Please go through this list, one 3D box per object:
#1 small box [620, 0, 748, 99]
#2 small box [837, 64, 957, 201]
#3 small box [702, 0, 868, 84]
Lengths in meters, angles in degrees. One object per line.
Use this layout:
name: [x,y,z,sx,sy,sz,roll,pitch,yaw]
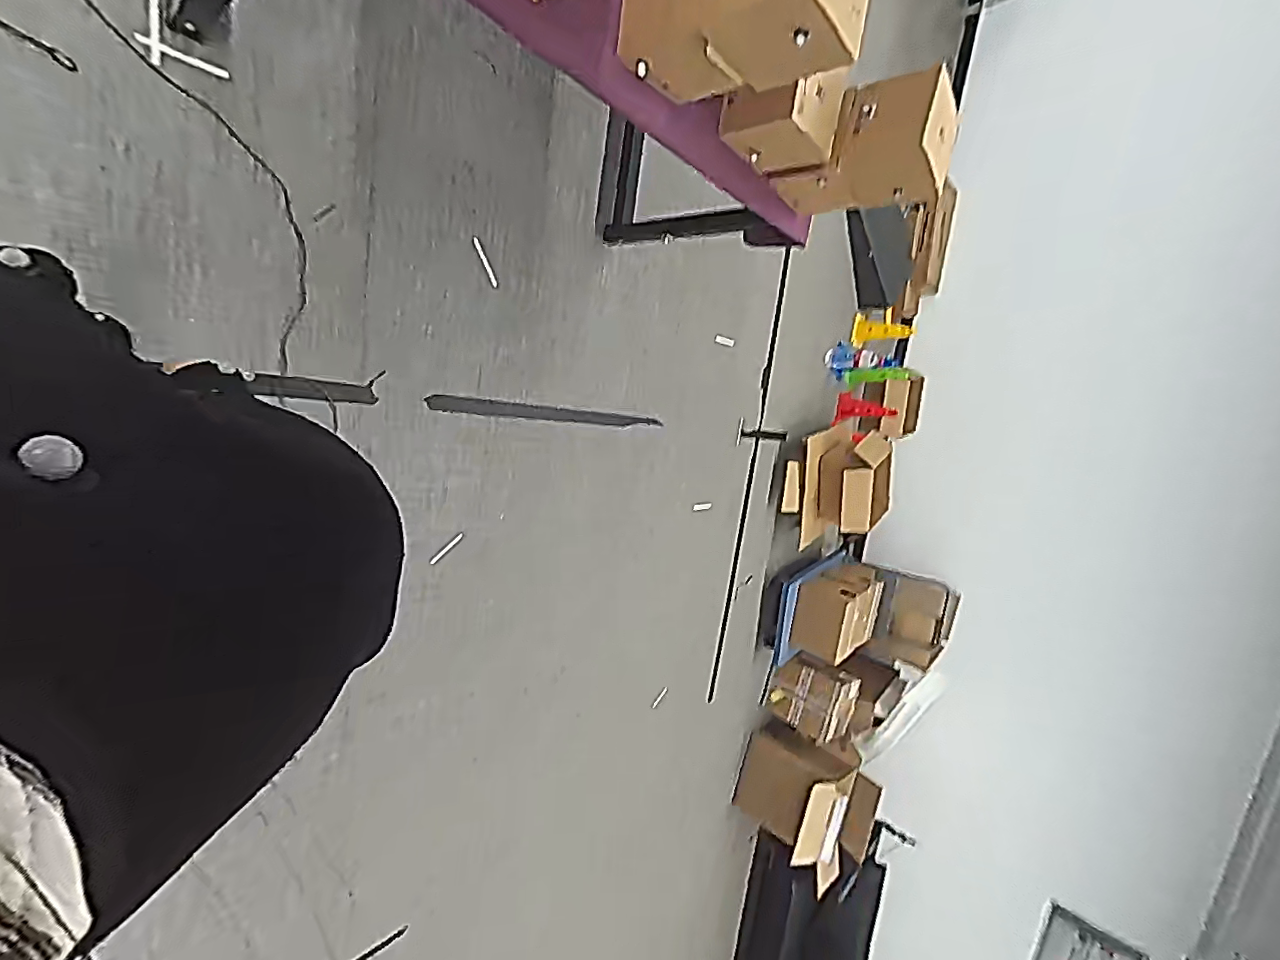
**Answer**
small box: [0.086,-0.749,0.860,0.168,0.176,0.179,-5,106,-48]
small box: [0.541,-0.714,1.139,0.179,0.176,0.168,17,88,-49]
small box: [0.208,-0.699,0.760,0.179,0.176,0.168,-2,104,-49]
